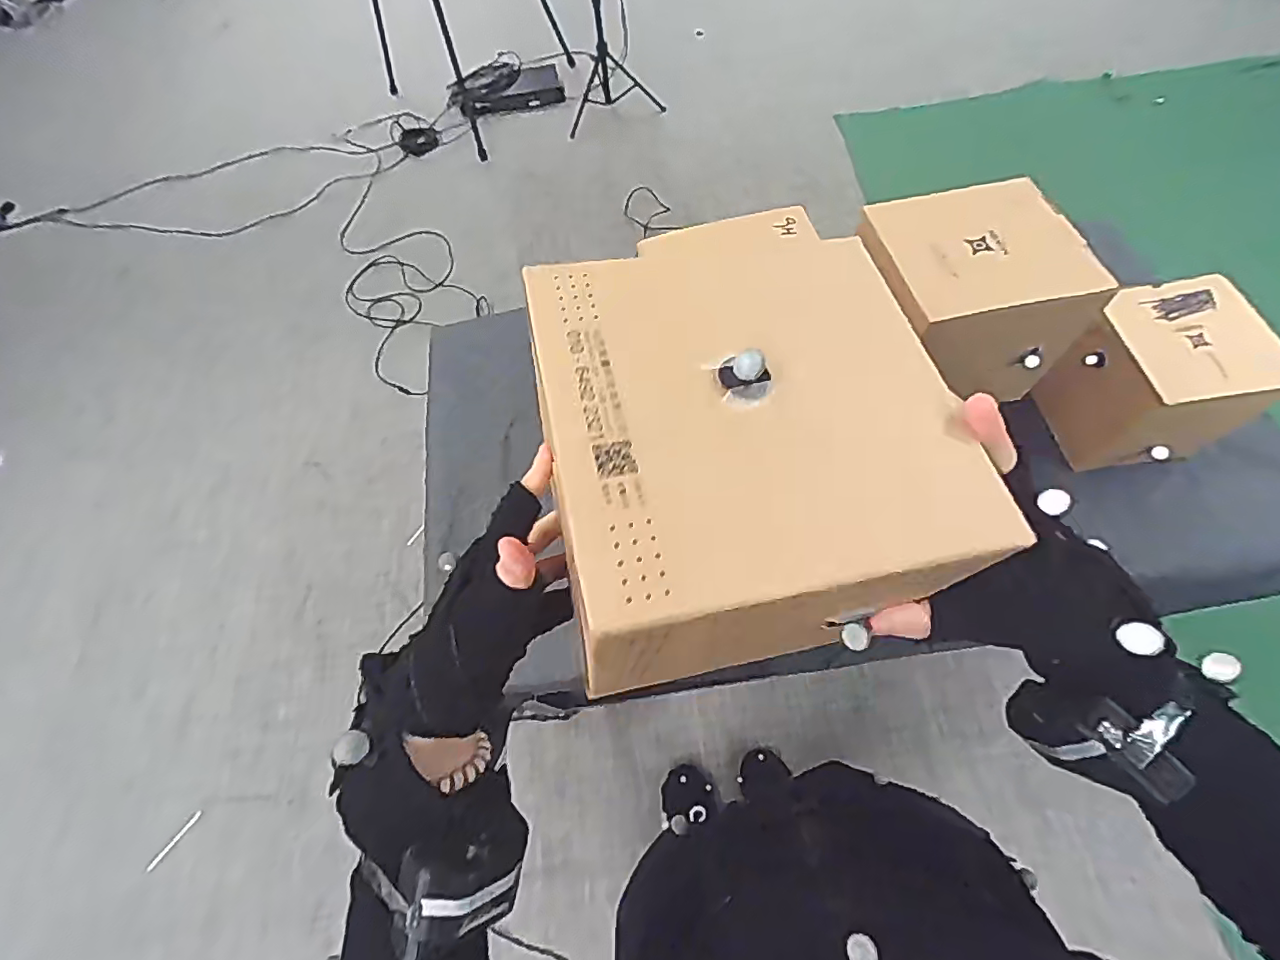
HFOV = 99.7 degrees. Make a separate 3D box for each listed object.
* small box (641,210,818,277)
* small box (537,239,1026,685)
[{"bbox_3d":[0.109,-0.154,0.593,0.179,0.176,0.168,-14,63,-1],"label":"small box"},{"bbox_3d":[0.041,0.003,0.295,0.176,0.179,0.168,-10,63,-8],"label":"small box"}]
